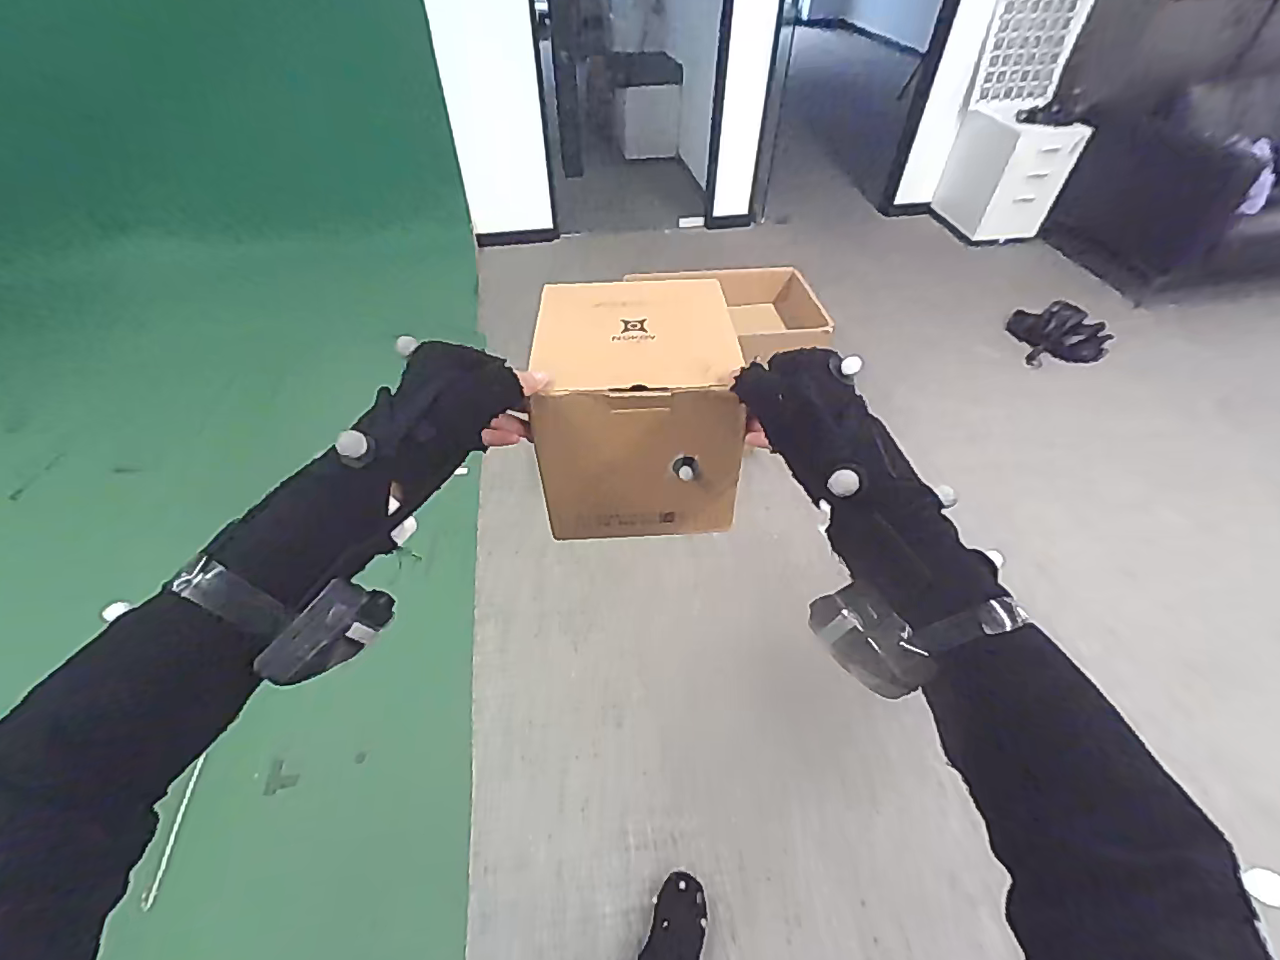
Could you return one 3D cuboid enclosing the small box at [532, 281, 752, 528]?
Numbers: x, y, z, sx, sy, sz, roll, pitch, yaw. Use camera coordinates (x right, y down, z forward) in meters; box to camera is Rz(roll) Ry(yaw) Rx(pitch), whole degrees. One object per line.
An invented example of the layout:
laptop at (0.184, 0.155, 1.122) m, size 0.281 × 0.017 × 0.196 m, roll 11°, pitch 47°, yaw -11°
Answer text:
small box at (0.001, -0.067, 0.505) m, size 0.168 × 0.176 × 0.179 m, roll -2°, pitch 43°, yaw -2°
